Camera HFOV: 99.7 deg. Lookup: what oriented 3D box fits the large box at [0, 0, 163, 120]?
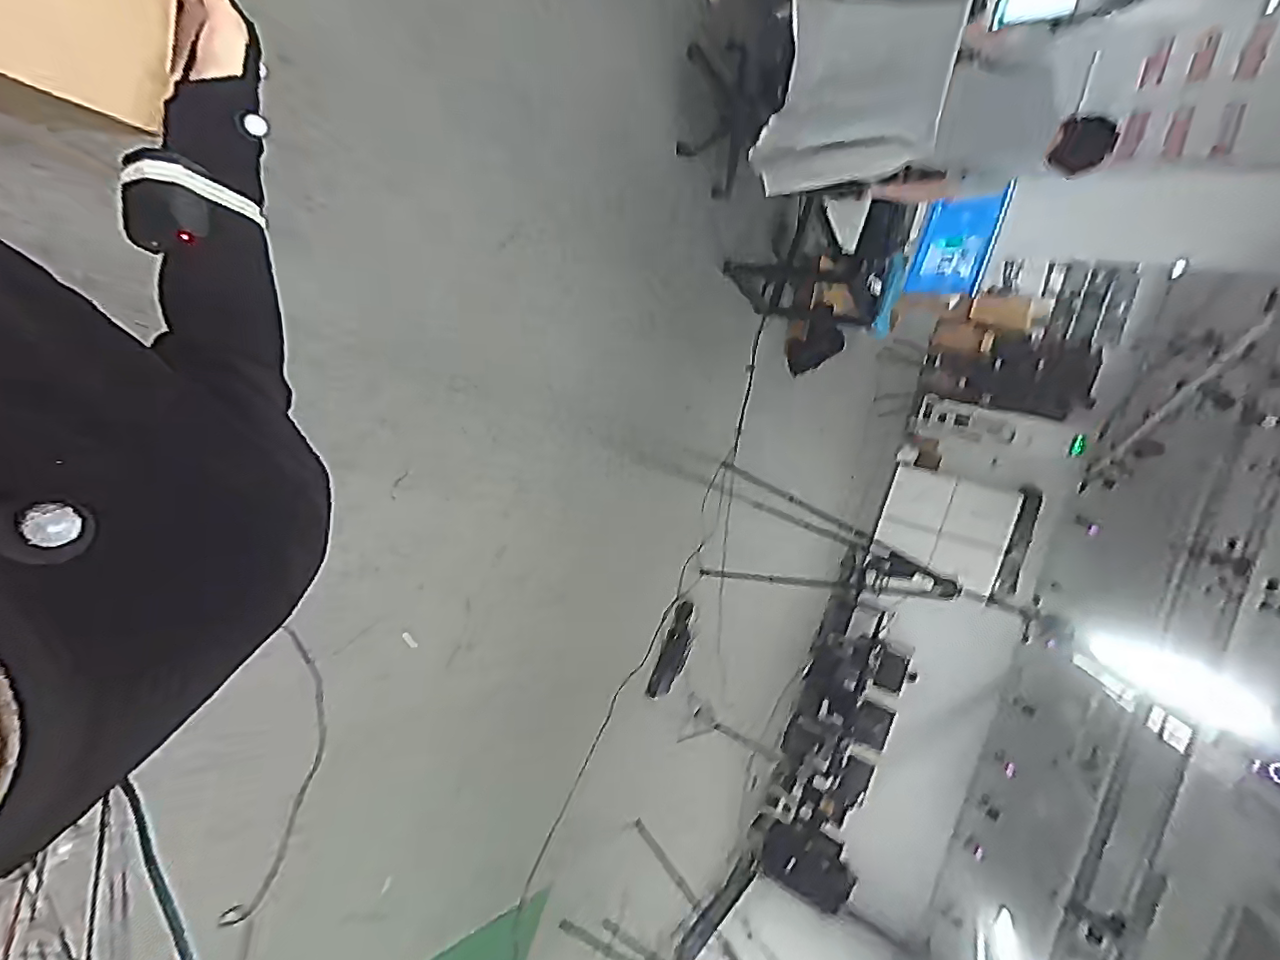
[{"bbox_3d":[-0.574,-0.460,0.299,0.408,0.320,0.320,-9,116,-59],"label":"large box"}]
